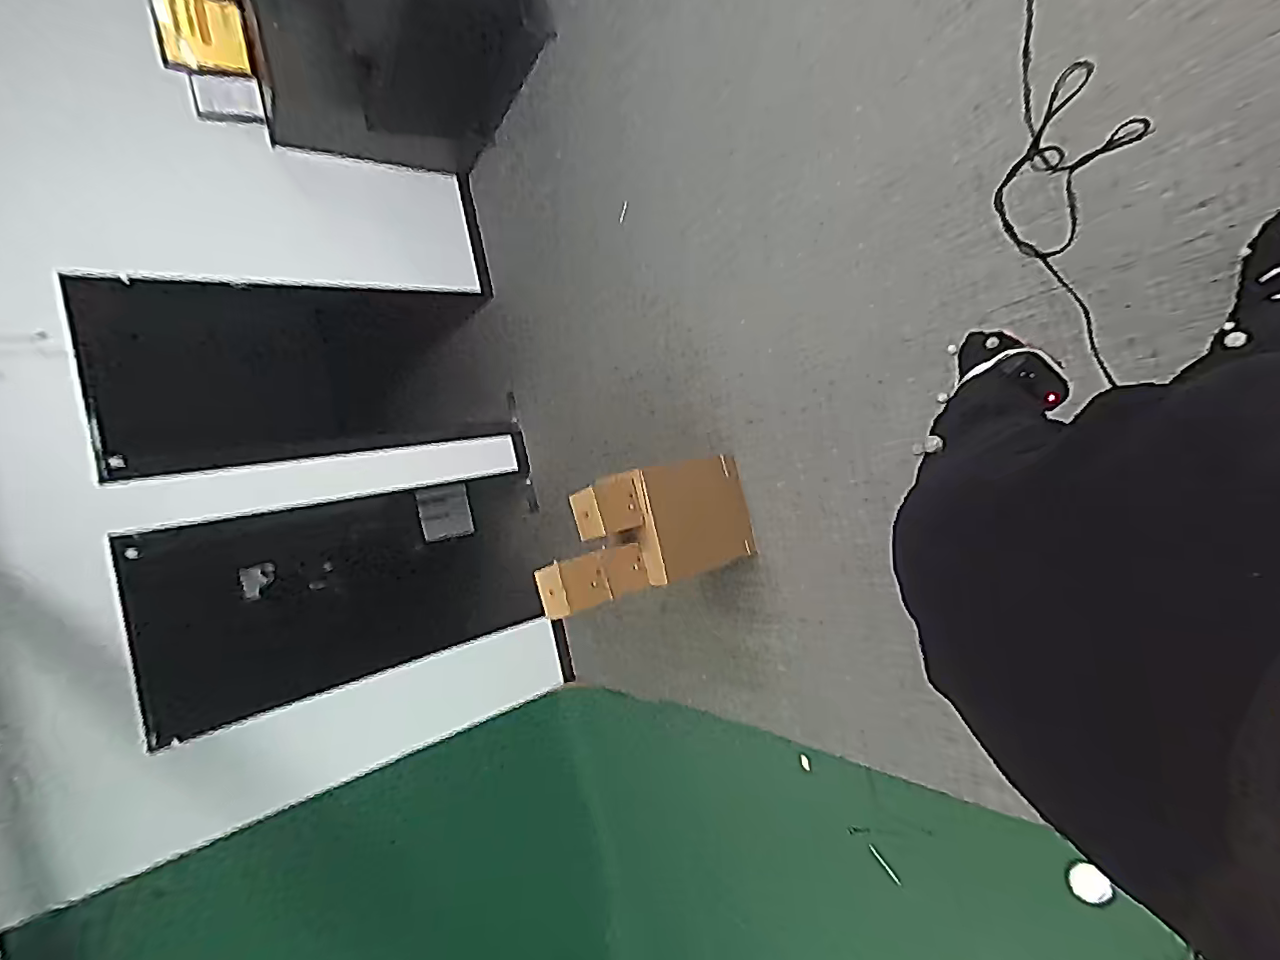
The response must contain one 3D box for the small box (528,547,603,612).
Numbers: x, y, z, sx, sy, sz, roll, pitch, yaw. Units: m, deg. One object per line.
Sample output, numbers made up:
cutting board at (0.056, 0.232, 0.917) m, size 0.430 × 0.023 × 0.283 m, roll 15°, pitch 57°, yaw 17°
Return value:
small box at (-0.246, 0.331, 1.792) m, size 0.179 × 0.176 × 0.168 m, roll -27°, pitch 76°, yaw 50°
